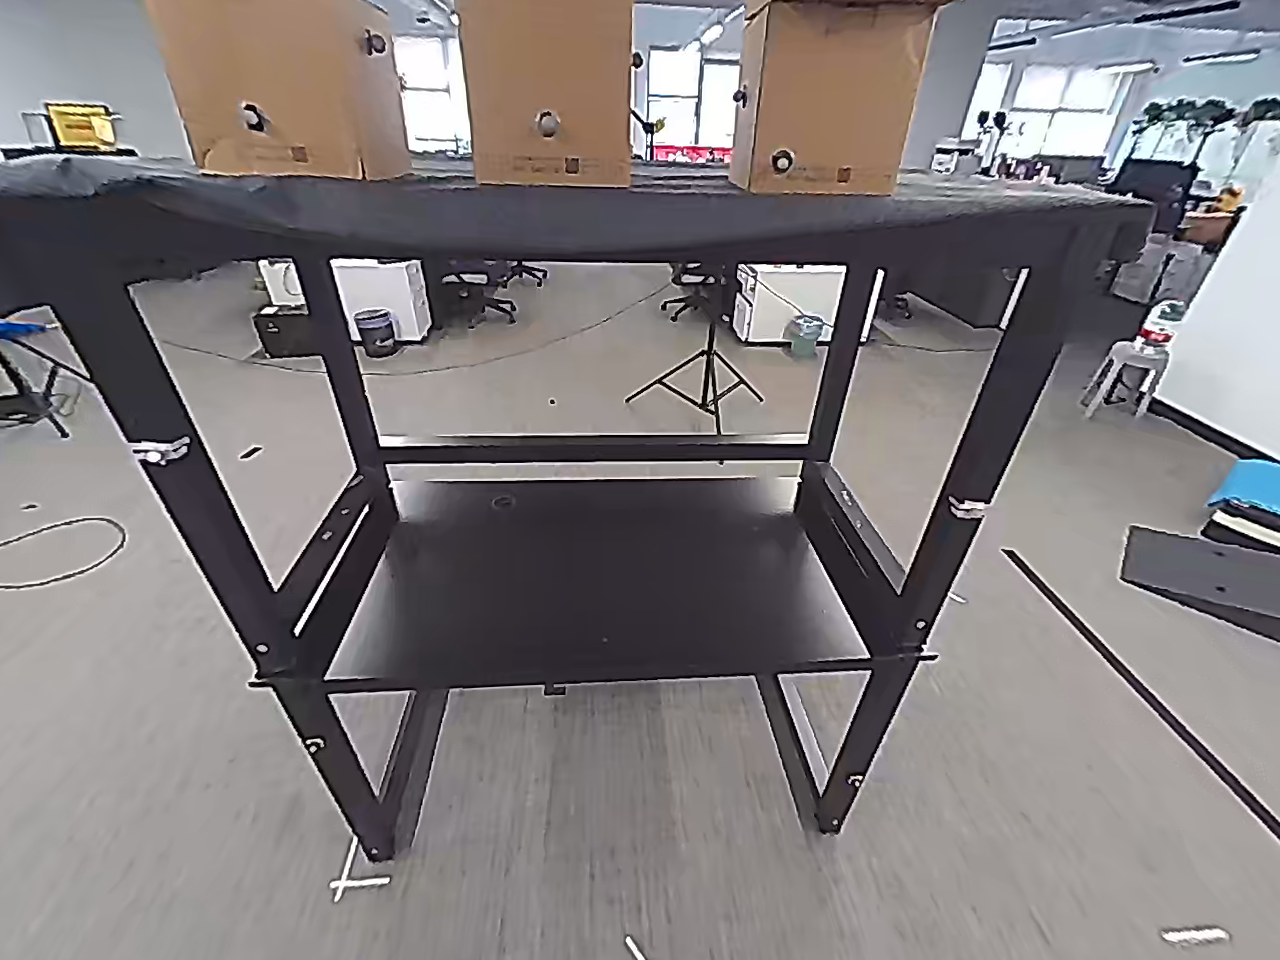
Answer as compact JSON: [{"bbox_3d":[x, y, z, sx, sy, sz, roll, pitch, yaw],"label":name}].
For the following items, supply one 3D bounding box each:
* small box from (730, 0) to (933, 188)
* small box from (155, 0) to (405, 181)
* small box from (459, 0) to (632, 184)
[{"bbox_3d":[0.203,-0.440,0.630,0.168,0.176,0.179,1,32,-1],"label":"small box"},{"bbox_3d":[-0.367,-0.427,0.582,0.168,0.176,0.179,0,32,-6],"label":"small box"},{"bbox_3d":[-0.095,-0.434,0.604,0.168,0.176,0.179,-1,31,-3],"label":"small box"}]
